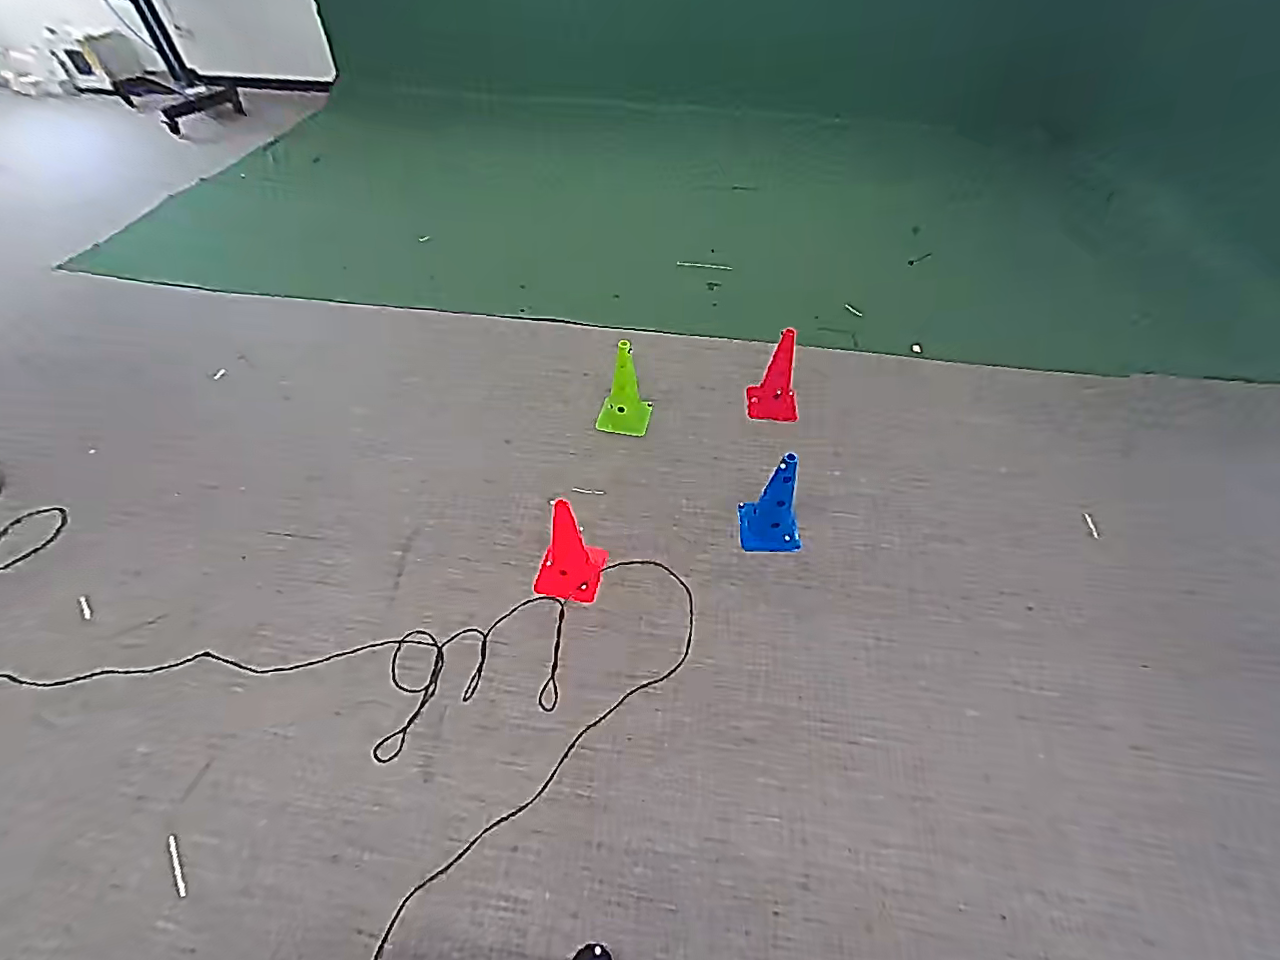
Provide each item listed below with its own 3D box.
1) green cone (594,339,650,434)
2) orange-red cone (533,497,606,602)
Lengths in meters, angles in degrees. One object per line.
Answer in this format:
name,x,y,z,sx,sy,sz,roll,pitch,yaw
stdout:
green cone,-0.069,-0.377,2.049,0.200,0.368,0.202,8,51,6
orange-red cone,-0.216,0.174,1.589,0.198,0.360,0.199,11,49,7
